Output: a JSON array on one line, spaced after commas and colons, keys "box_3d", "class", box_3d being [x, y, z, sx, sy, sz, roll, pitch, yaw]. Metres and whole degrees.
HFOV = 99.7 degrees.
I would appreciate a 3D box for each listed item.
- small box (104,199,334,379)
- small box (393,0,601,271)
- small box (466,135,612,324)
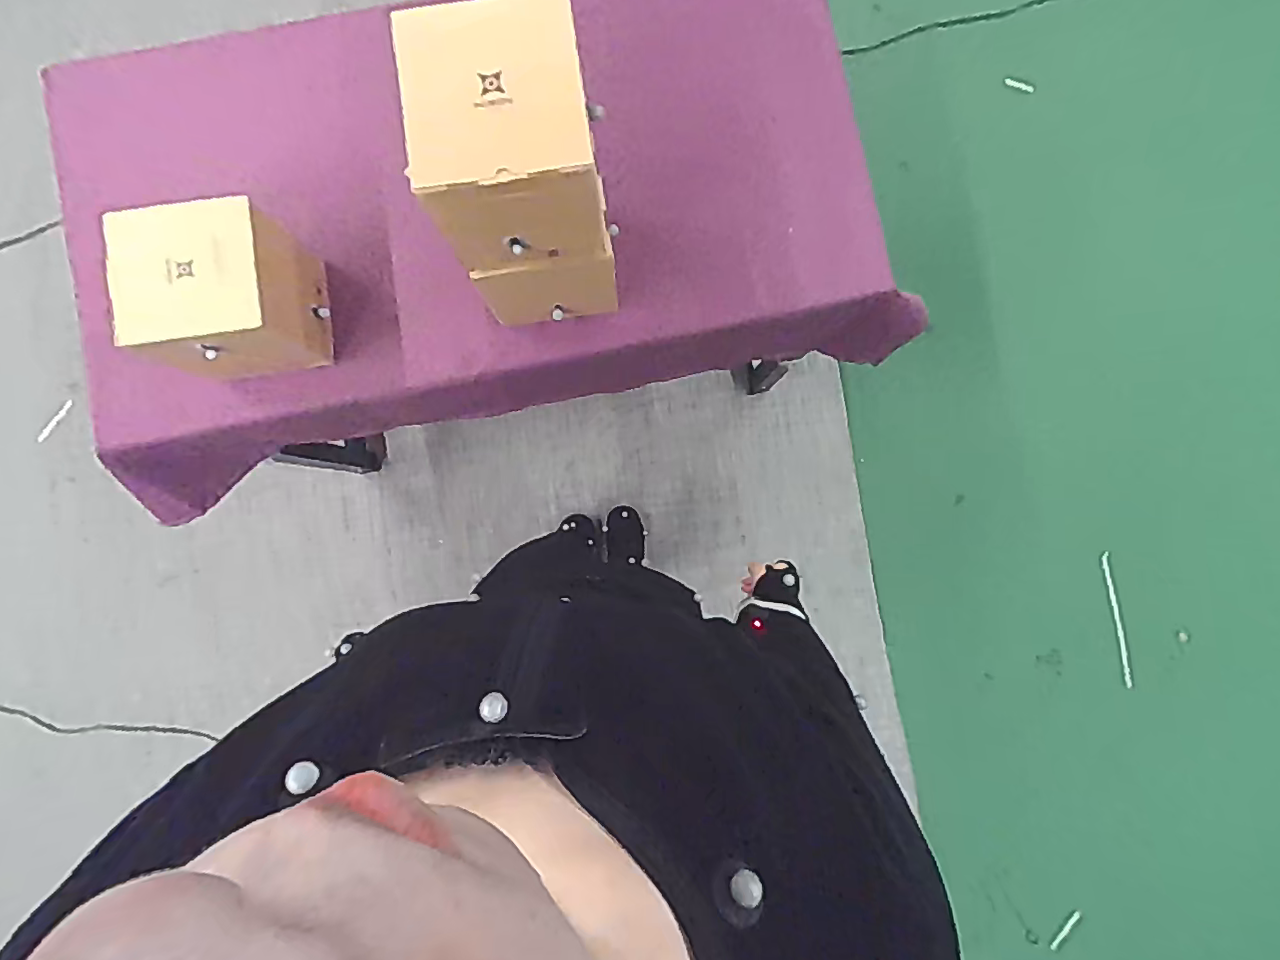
[{"box_3d": [-0.547, -0.242, 0.724, 0.179, 0.176, 0.168, -8, 87, -2], "class": "small box"}, {"box_3d": [-0.137, -0.350, 0.573, 0.168, 0.176, 0.179, -9, 87, -1], "class": "small box"}, {"box_3d": [-0.135, -0.329, 0.736, 0.179, 0.176, 0.168, -10, 86, -2], "class": "small box"}]
